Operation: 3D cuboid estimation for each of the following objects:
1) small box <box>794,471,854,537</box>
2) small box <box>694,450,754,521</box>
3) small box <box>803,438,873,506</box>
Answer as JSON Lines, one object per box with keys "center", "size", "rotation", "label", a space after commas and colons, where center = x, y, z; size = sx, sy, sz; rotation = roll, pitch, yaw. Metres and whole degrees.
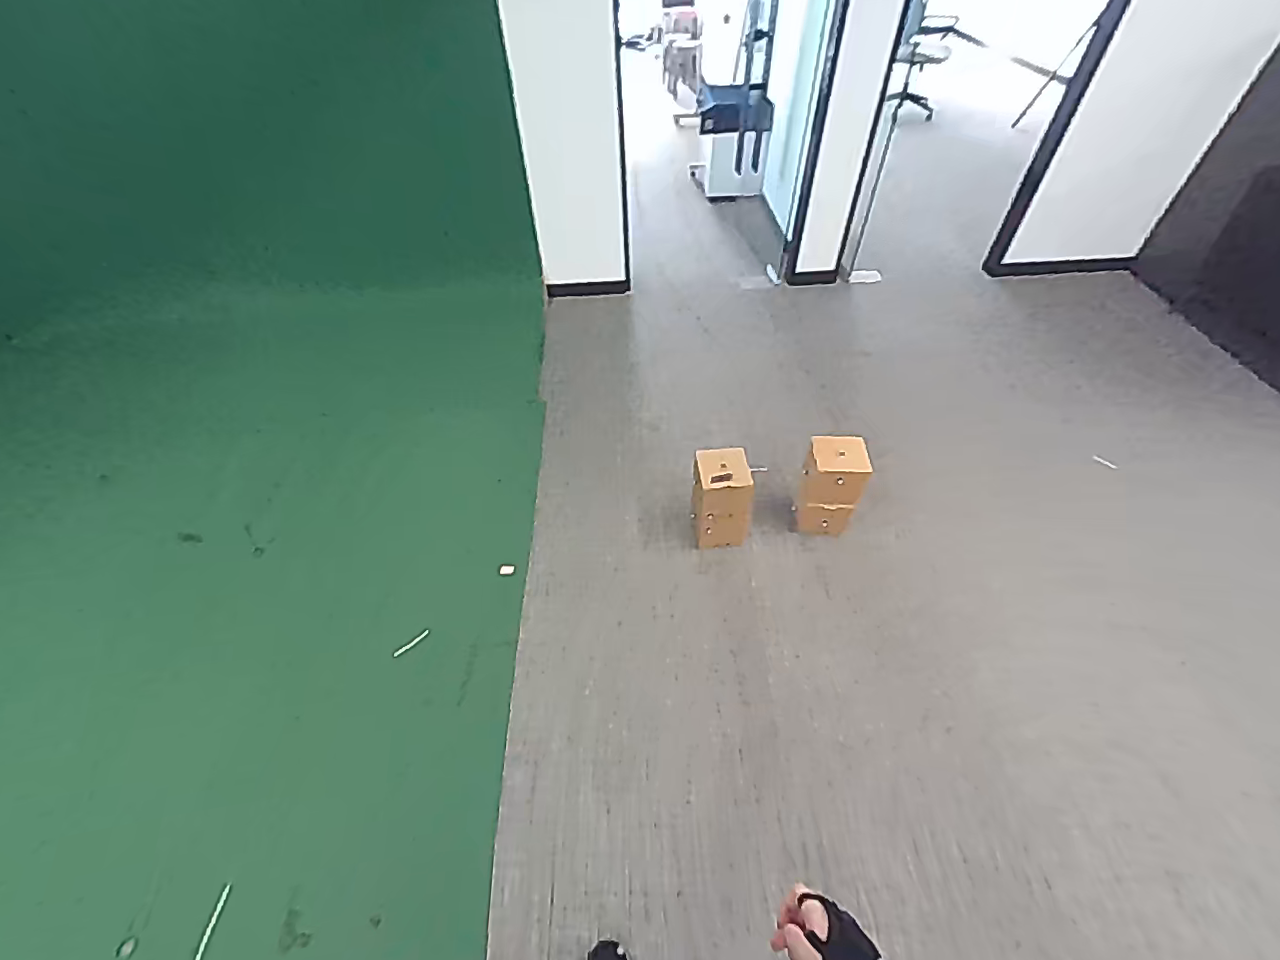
{"center": [0.664, 0.089, 1.965], "size": [0.168, 0.176, 0.179], "rotation": [3, 49, 4], "label": "small box"}
{"center": [0.277, 0.024, 1.819], "size": [0.168, 0.176, 0.179], "rotation": [-5, 47, -2], "label": "small box"}
{"center": [0.670, -0.025, 1.850], "size": [0.179, 0.176, 0.168], "rotation": [1, 48, 4], "label": "small box"}
